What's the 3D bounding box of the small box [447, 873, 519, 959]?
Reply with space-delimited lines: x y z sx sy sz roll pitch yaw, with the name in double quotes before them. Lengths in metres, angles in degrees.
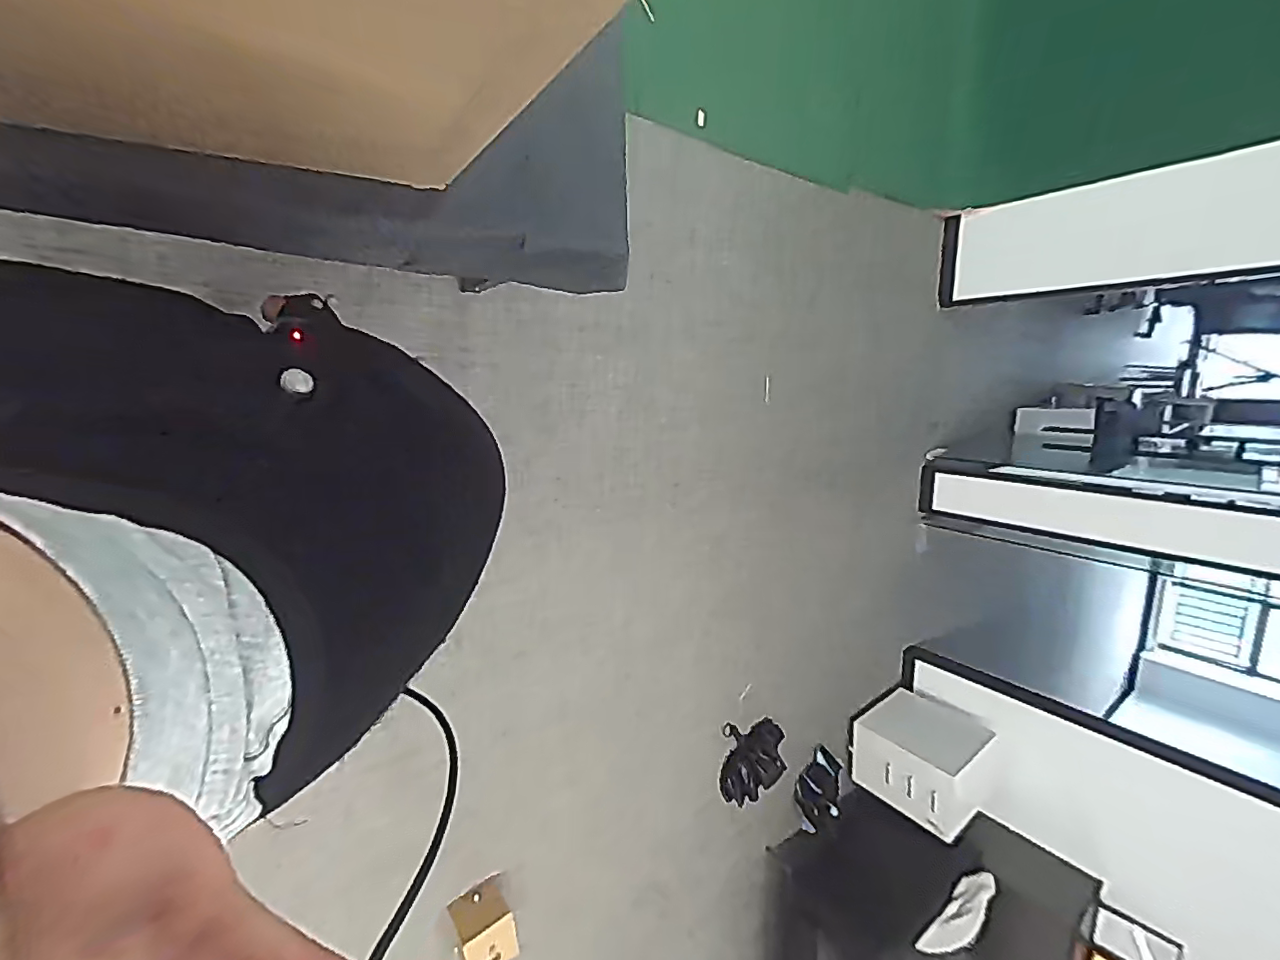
"small box" -0.522 1.469 1.792 0.168 0.176 0.179 -16 107 -35
